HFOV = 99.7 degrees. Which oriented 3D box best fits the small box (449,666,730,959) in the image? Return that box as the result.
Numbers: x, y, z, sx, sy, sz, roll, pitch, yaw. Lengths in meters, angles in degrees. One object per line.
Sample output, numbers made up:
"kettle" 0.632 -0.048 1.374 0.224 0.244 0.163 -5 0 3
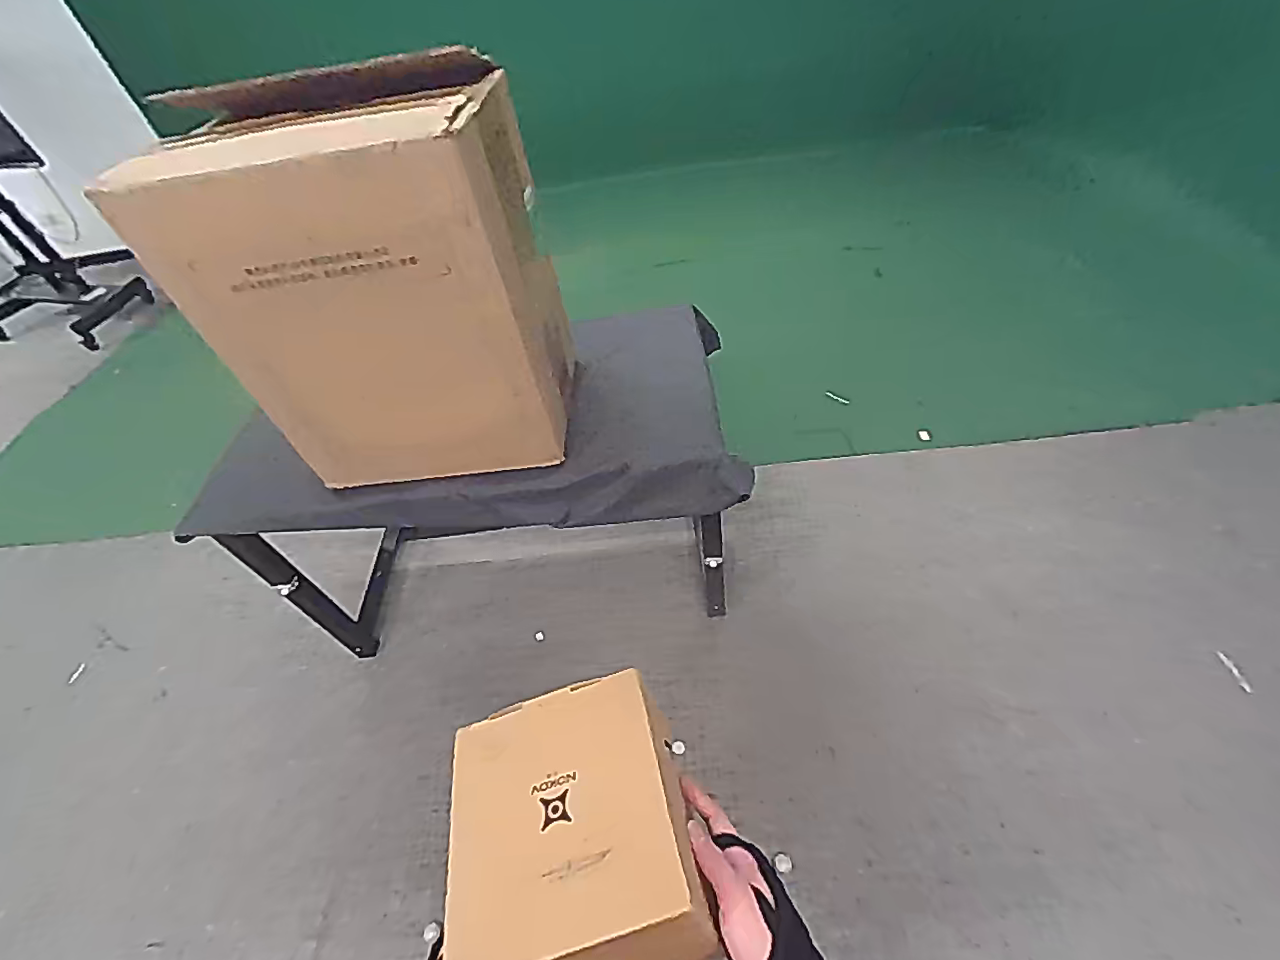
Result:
"small box" -0.040 0.295 0.448 0.168 0.176 0.179 -22 40 -2
